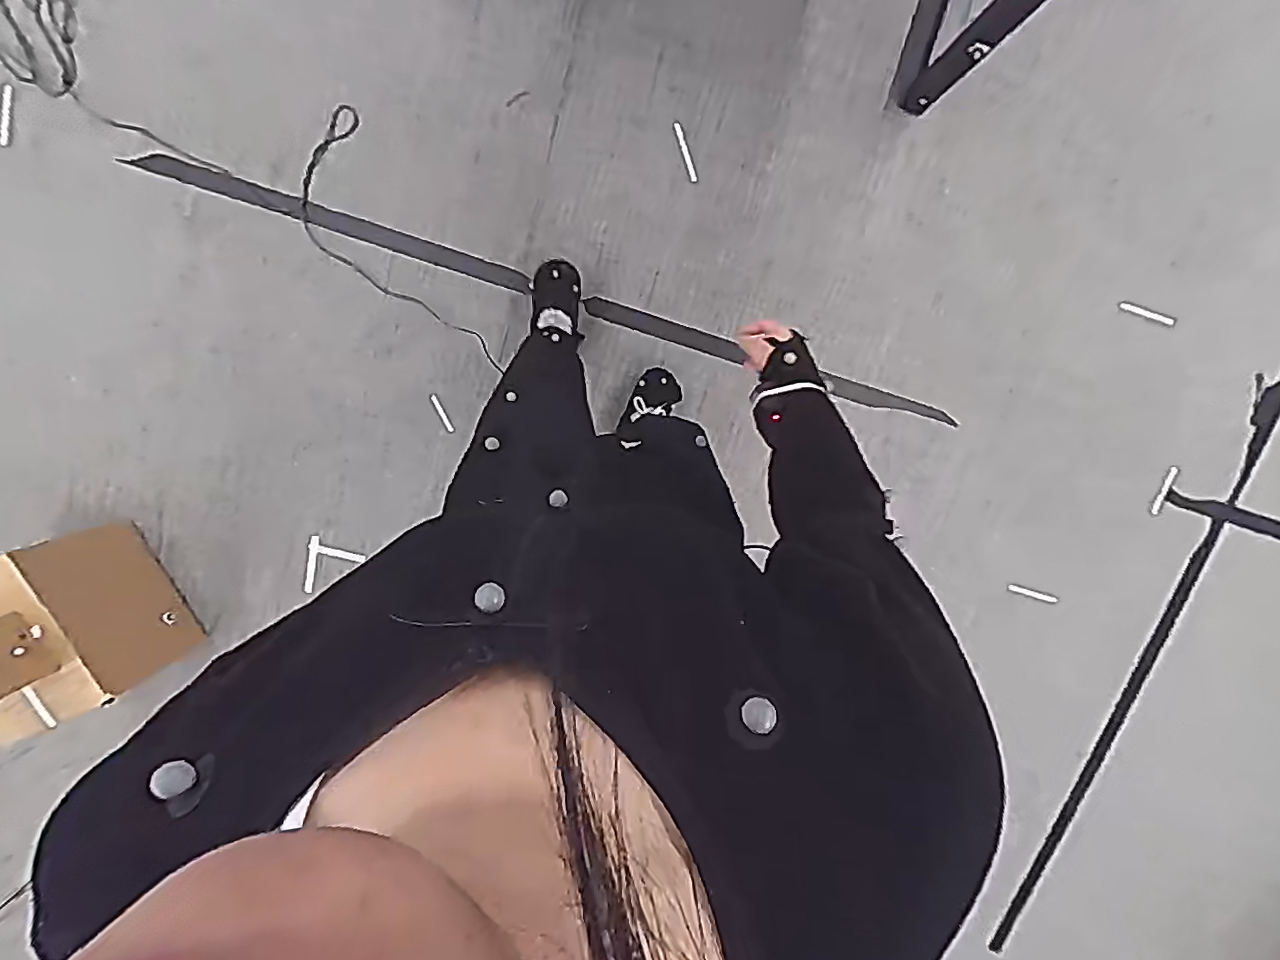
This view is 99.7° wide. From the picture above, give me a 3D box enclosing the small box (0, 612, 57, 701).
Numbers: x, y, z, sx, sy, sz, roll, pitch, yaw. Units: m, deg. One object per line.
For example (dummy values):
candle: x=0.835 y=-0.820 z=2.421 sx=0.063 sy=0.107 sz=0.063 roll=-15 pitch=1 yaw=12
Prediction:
small box: x=-1.447 y=0.415 z=1.163 sx=0.179 sy=0.176 sz=0.168 roll=-24 pitch=100 yaw=4
